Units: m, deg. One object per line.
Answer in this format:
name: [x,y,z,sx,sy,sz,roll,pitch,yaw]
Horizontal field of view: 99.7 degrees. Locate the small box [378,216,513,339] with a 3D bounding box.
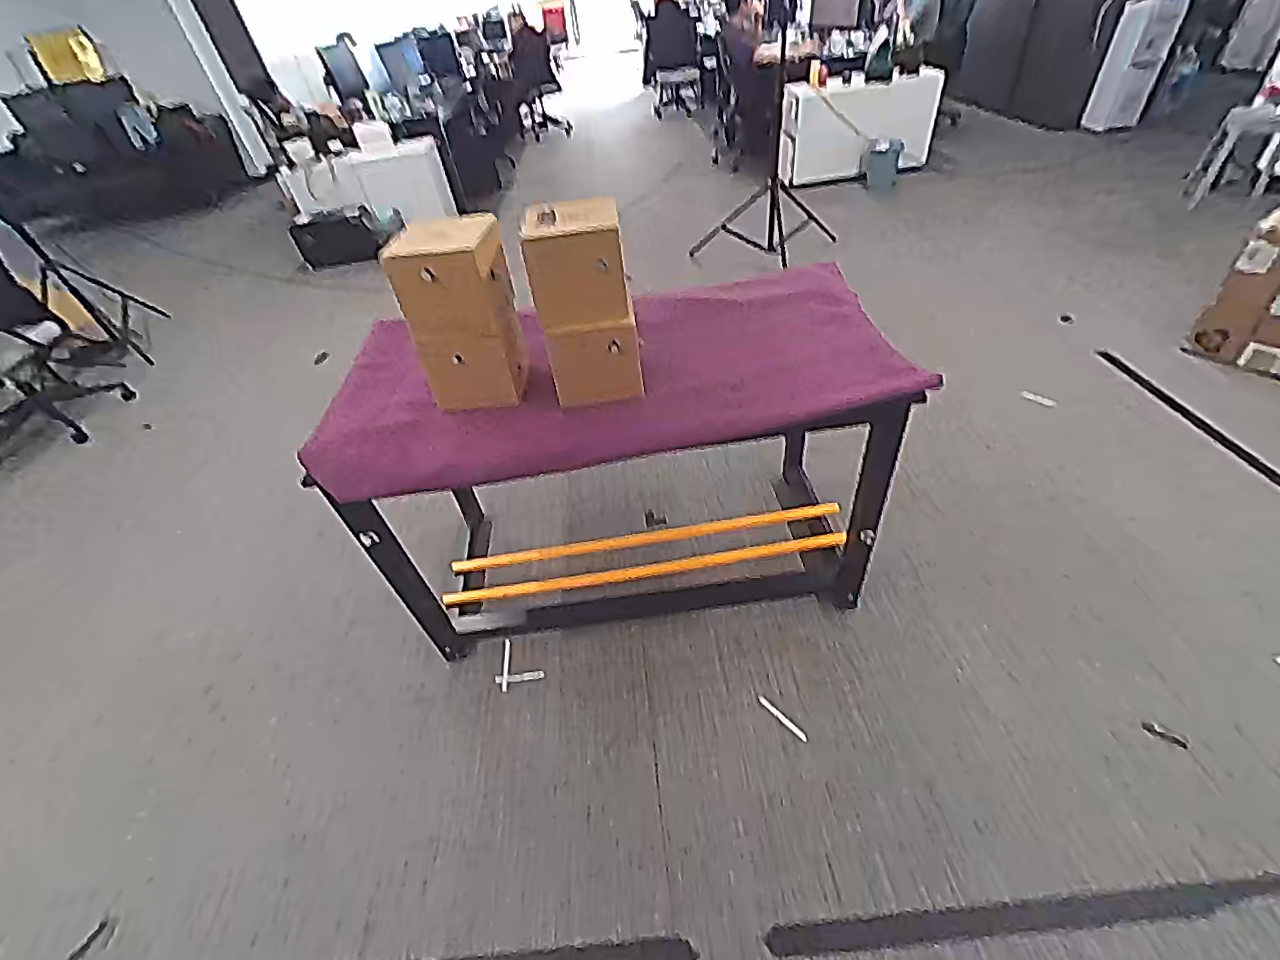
small box: [-0.360,-0.389,1.046,0.179,0.176,0.168,-2,44,6]

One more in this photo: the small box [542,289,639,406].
small box: [-0.096,-0.273,1.123,0.179,0.176,0.168,-8,42,1]
